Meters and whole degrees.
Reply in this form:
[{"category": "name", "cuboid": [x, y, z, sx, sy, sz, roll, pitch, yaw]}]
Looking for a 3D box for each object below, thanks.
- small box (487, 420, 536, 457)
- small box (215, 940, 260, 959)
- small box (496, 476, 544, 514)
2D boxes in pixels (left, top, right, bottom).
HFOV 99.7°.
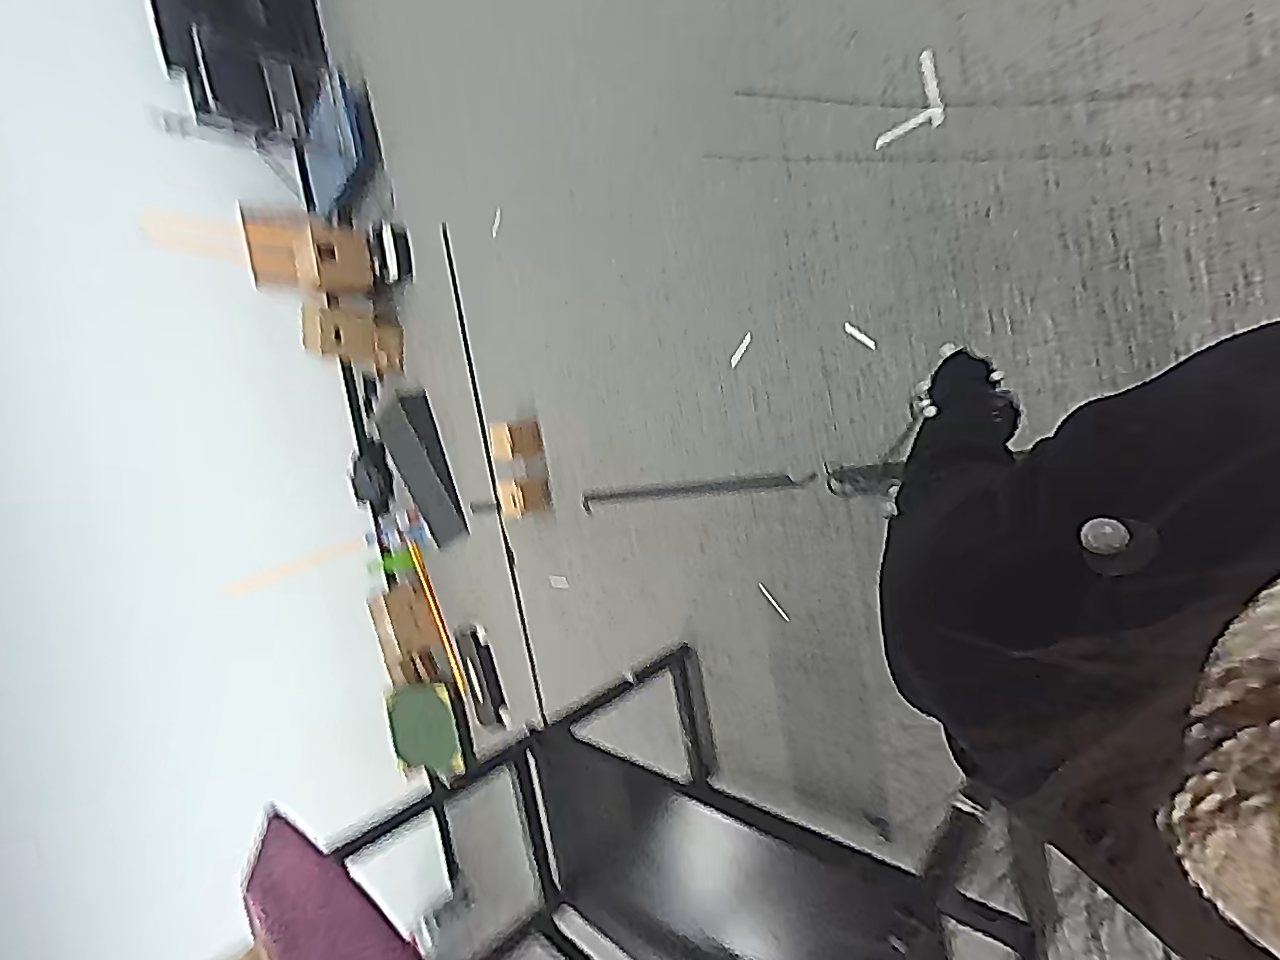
[{"category": "small box", "cuboid": [-0.630, -0.204, 2.677, 0.179, 0.176, 0.168, 1, 99, 46]}, {"category": "small box", "cuboid": [-0.792, 1.034, 1.007, 0.168, 0.176, 0.179, -10, 93, 45]}, {"category": "small box", "cuboid": [-0.594, 0.075, 2.697, 0.179, 0.176, 0.168, -3, 96, 46]}]
